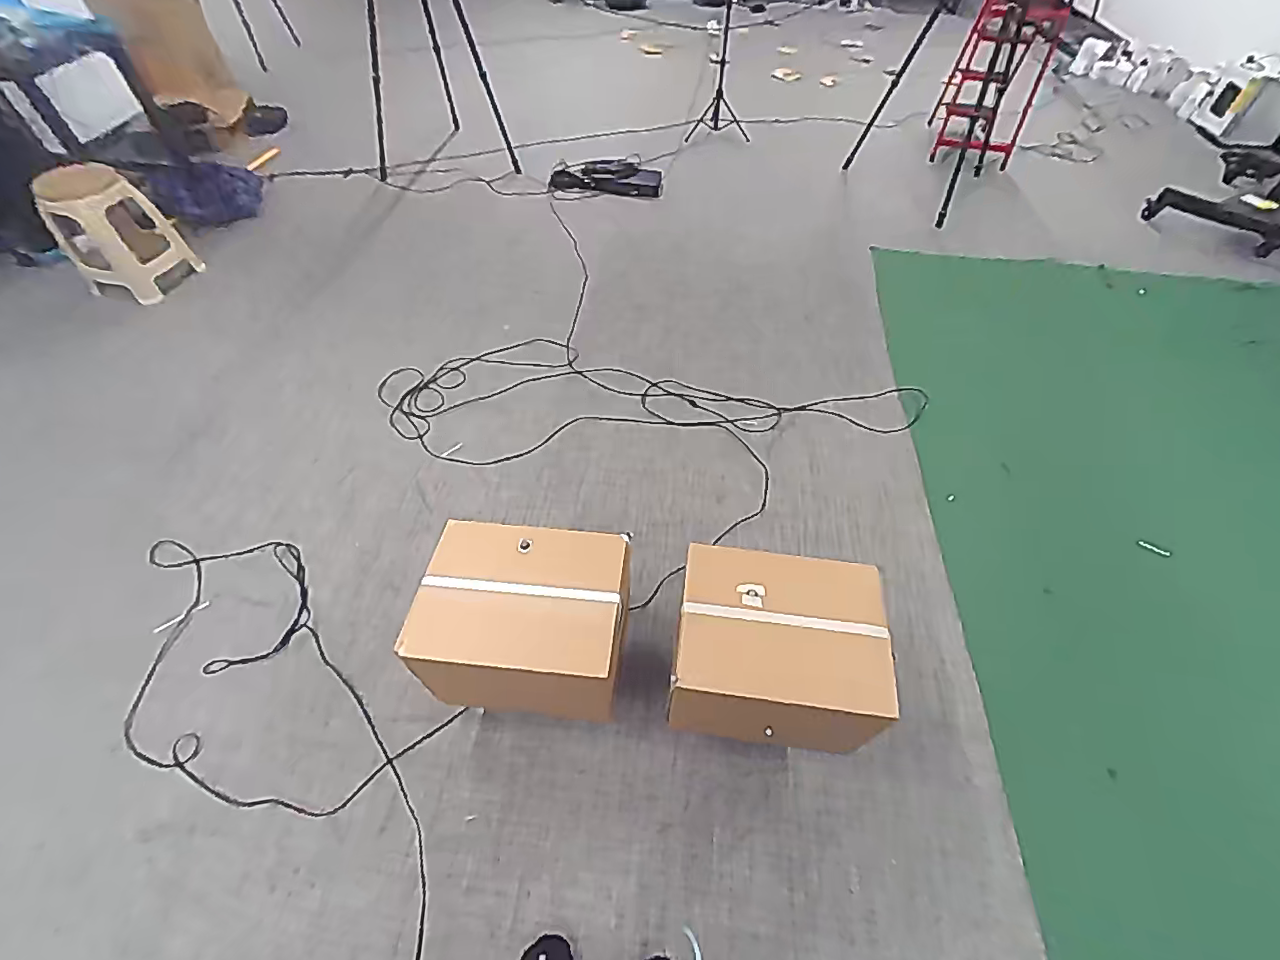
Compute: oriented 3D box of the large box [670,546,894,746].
[{"bbox_3d":[0.286,0.374,1.201,0.408,0.320,0.320,7,52,5],"label":"large box"}]
